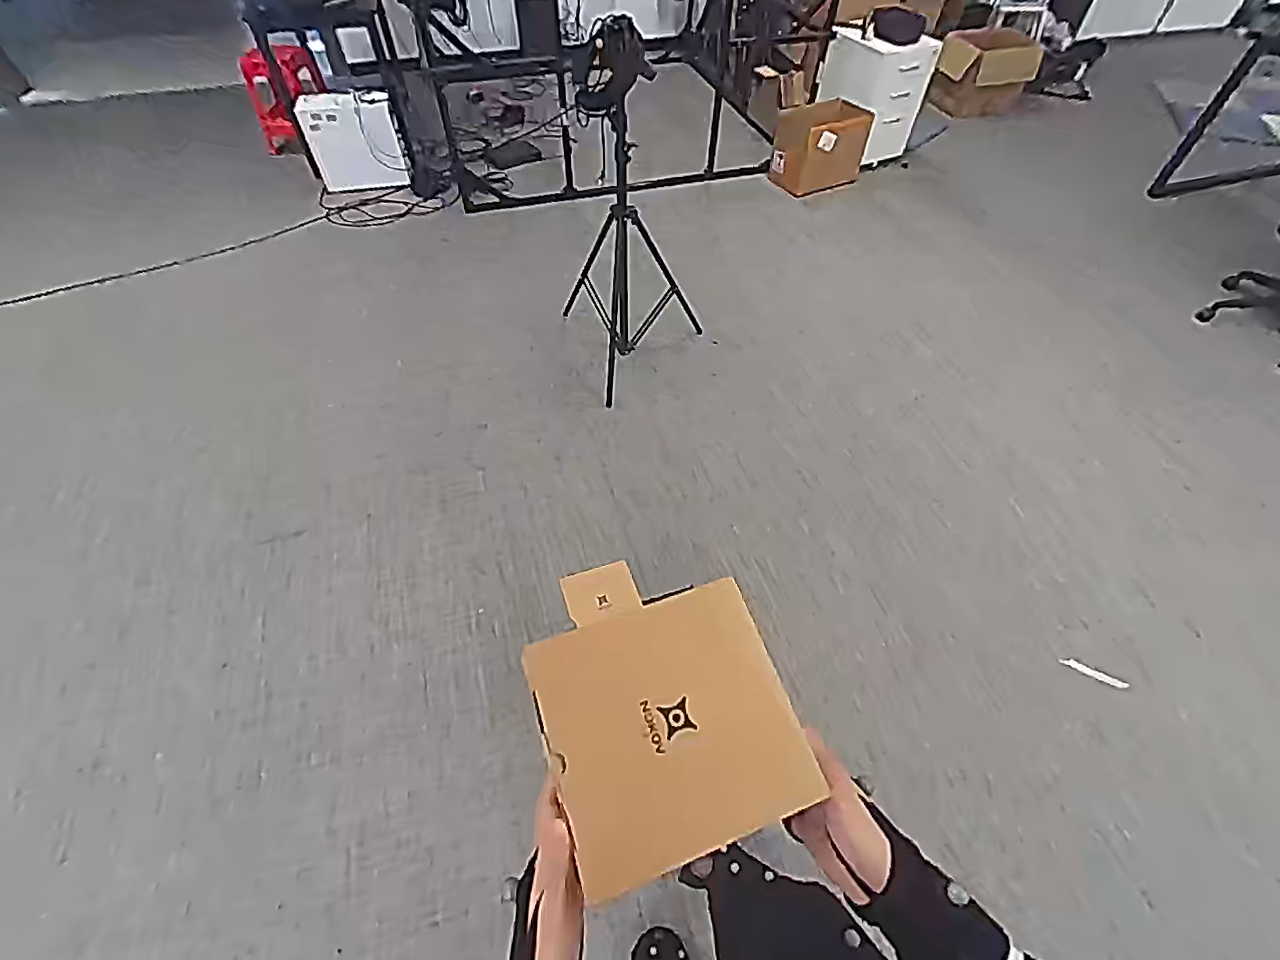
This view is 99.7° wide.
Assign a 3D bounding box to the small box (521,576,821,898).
[{"bbox_3d":[0.013,0.203,0.456,0.179,0.176,0.168,-17,66,-12],"label":"small box"}]

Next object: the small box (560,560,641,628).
[{"bbox_3d":[-0.083,0.325,1.291,0.168,0.176,0.179,-15,54,-13],"label":"small box"}]
